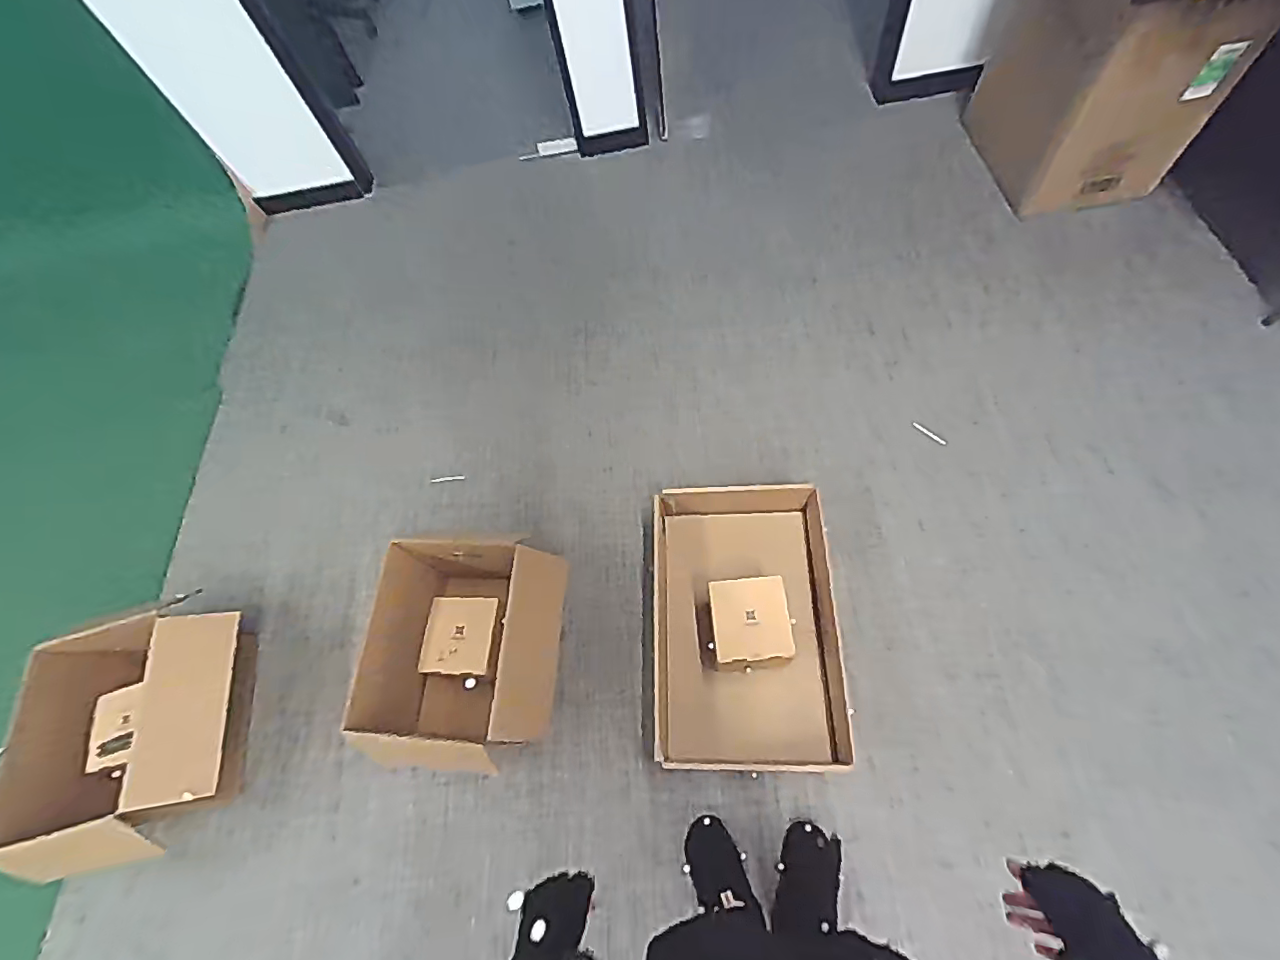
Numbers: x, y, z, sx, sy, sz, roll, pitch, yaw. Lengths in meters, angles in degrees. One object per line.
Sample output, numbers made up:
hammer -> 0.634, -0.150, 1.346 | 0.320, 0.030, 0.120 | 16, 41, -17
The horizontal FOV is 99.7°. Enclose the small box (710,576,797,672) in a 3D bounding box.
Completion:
small box -> 0.250, 0.332, 1.236 | 0.168, 0.176, 0.179 | -7, 64, 5
